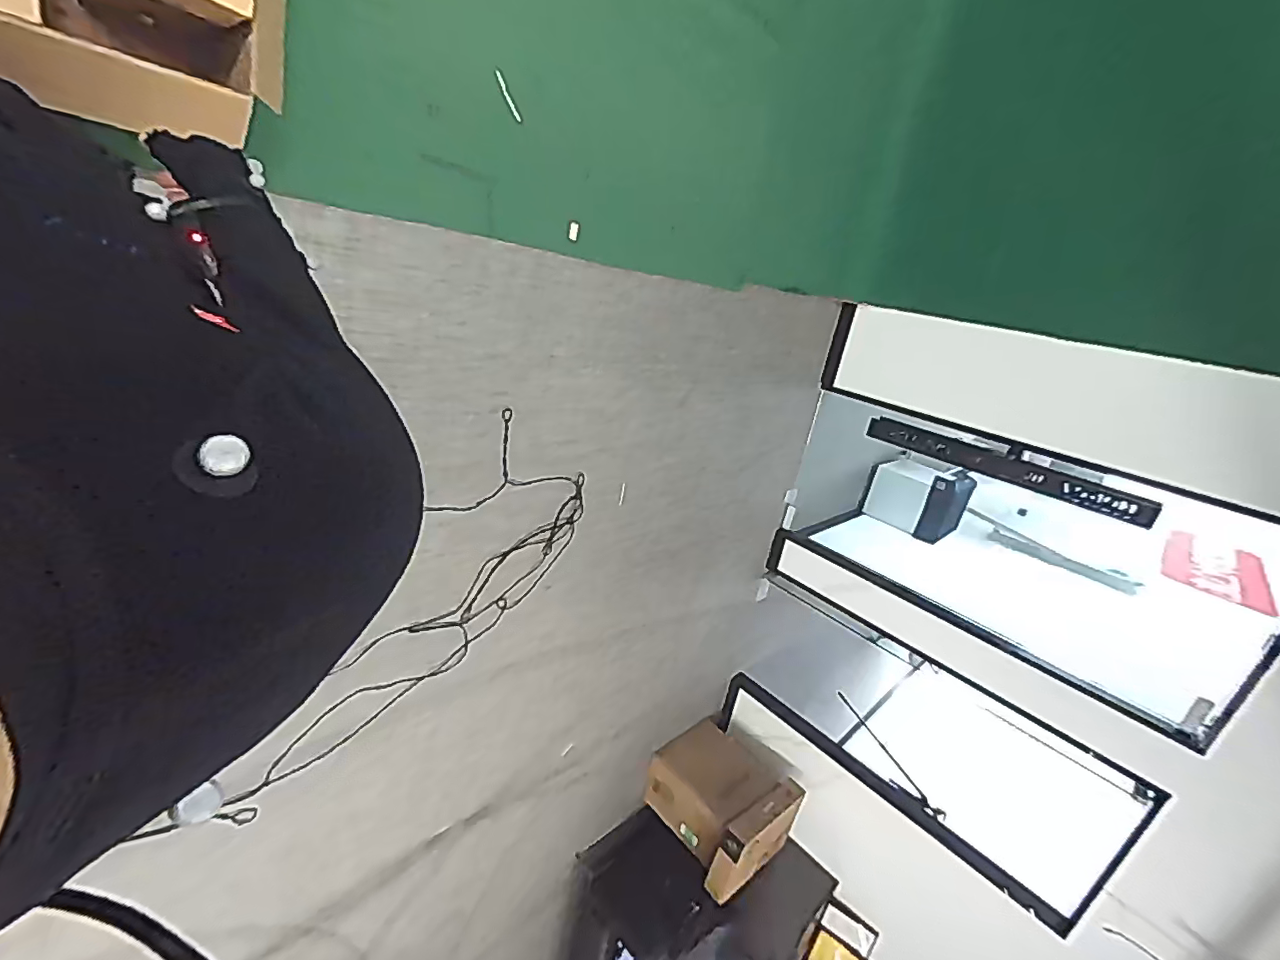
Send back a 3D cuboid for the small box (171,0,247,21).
[{"bbox_3d":[-0.654,-0.778,0.742,0.168,0.176,0.179,-5,116,-48],"label":"small box"}]
